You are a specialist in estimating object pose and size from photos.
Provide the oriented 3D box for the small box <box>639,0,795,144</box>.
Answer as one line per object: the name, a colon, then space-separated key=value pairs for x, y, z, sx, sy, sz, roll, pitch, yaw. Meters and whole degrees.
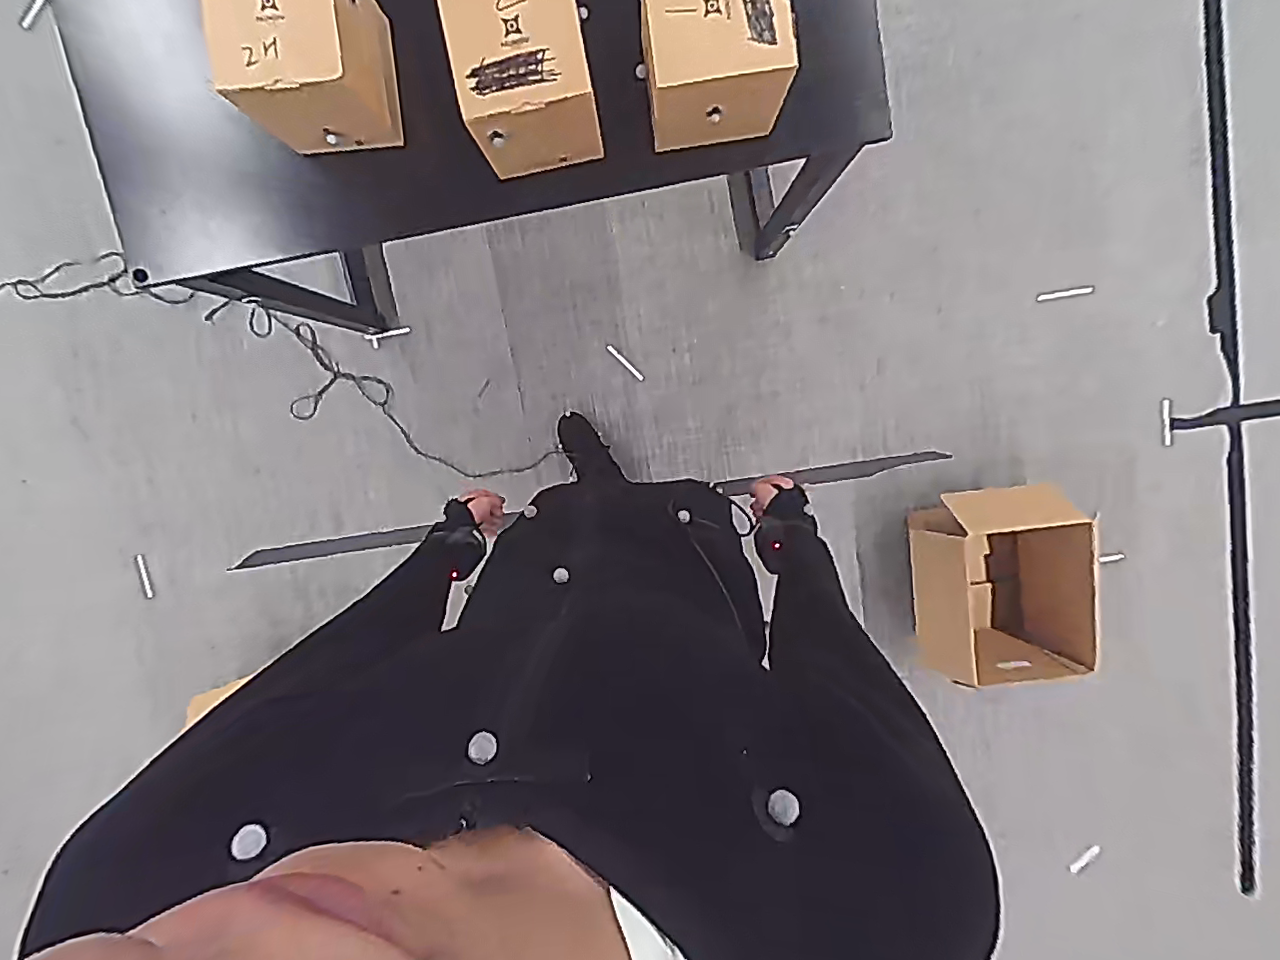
small box: x=0.093 y=-0.583 z=0.721 sx=0.179 sy=0.176 sz=0.168 roll=-8 pitch=97 yaw=3

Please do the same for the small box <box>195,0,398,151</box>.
small box: x=-0.451 y=-0.580 z=0.730 sx=0.168 sy=0.176 sz=0.179 roll=-4 pitch=98 yaw=2
